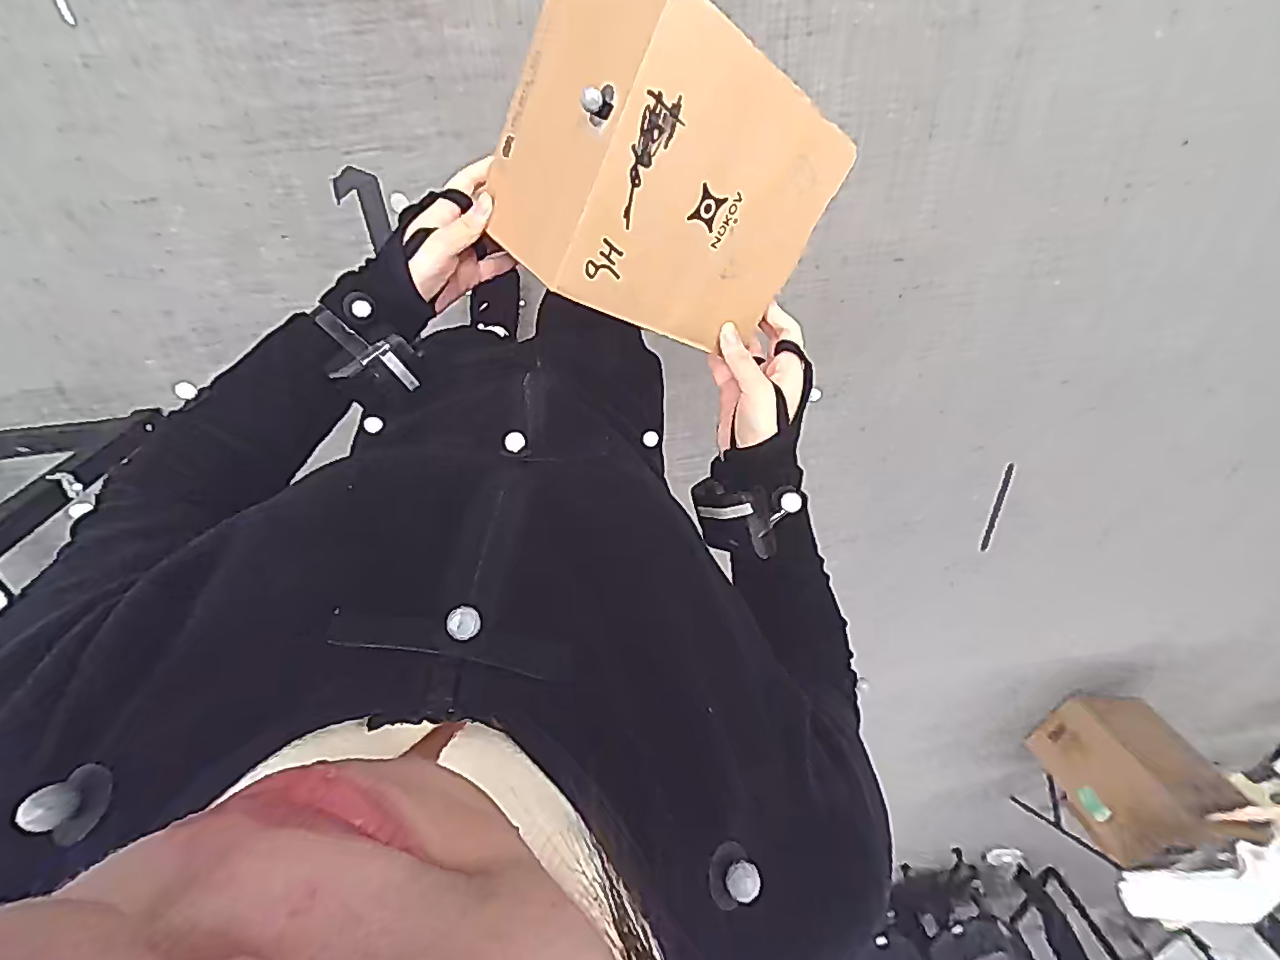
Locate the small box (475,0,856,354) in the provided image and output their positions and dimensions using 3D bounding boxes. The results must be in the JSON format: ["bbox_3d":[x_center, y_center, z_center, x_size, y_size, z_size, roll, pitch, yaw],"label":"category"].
[{"bbox_3d":[0.008,-0.218,0.391,0.179,0.176,0.168,8,119,-41],"label":"small box"}]
